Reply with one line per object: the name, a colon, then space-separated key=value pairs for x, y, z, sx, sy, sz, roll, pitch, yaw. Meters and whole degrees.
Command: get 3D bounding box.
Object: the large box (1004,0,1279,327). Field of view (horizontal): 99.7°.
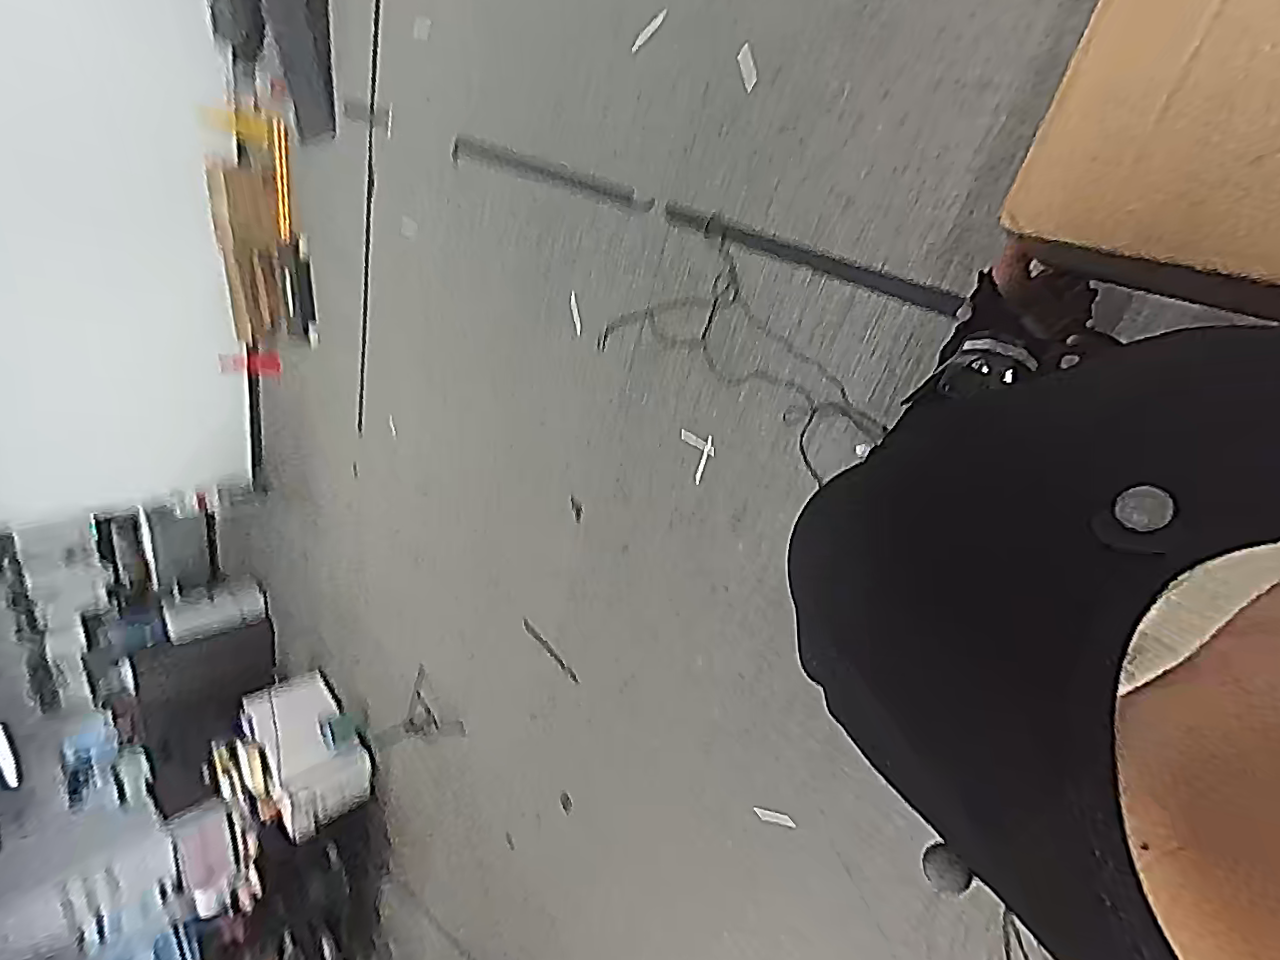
large box: x=0.488 y=-0.227 z=0.274 sx=0.408 sy=0.320 sz=0.320 roll=30 pitch=121 yaw=31
